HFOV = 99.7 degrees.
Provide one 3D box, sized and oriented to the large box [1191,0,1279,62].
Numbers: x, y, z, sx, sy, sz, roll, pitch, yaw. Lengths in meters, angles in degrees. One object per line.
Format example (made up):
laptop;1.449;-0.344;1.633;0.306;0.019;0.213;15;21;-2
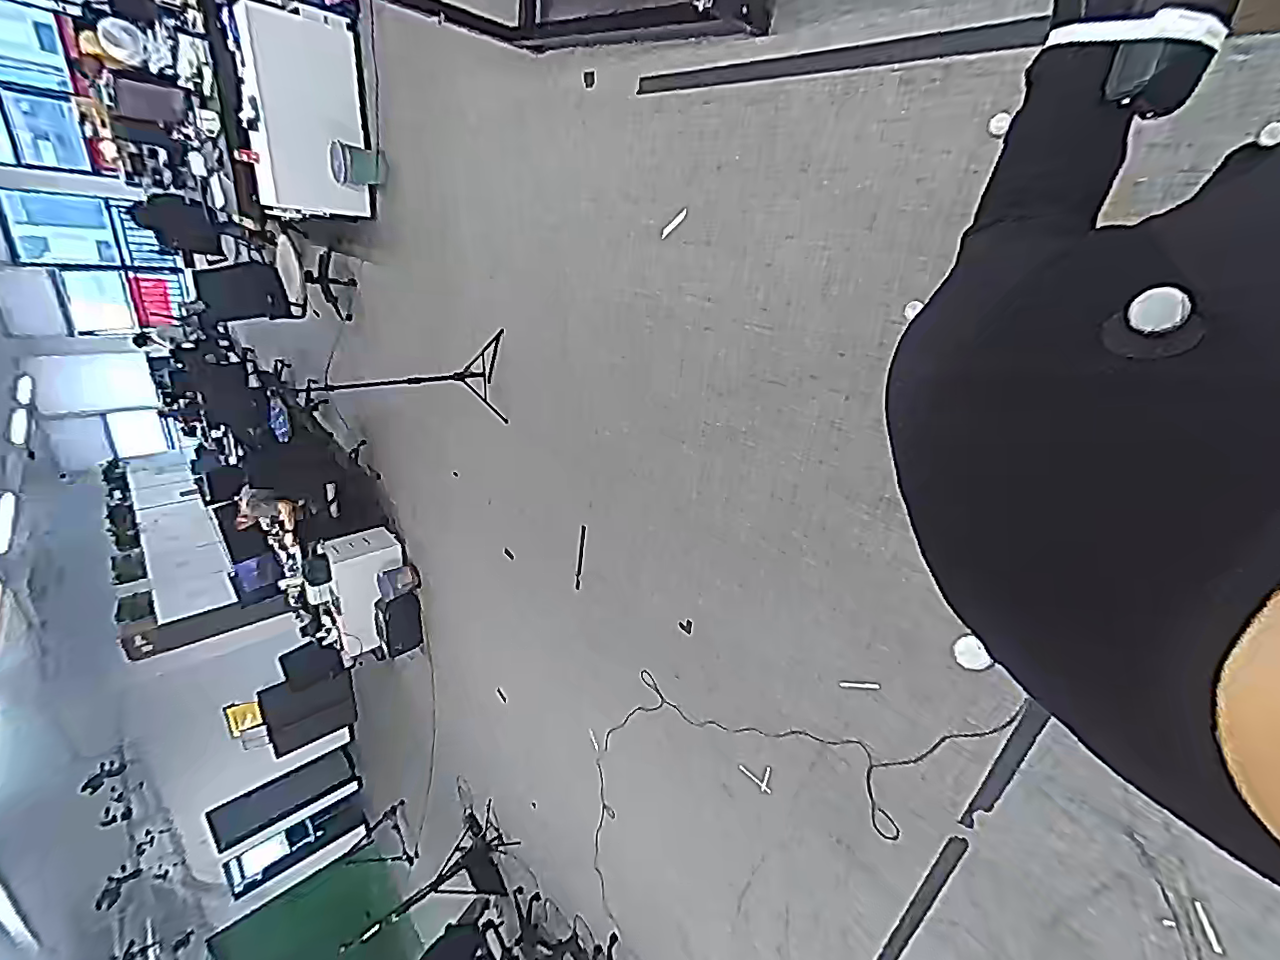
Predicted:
large box;0.569;-0.414;0.228;0.408;0.320;0.320;26;128;37
